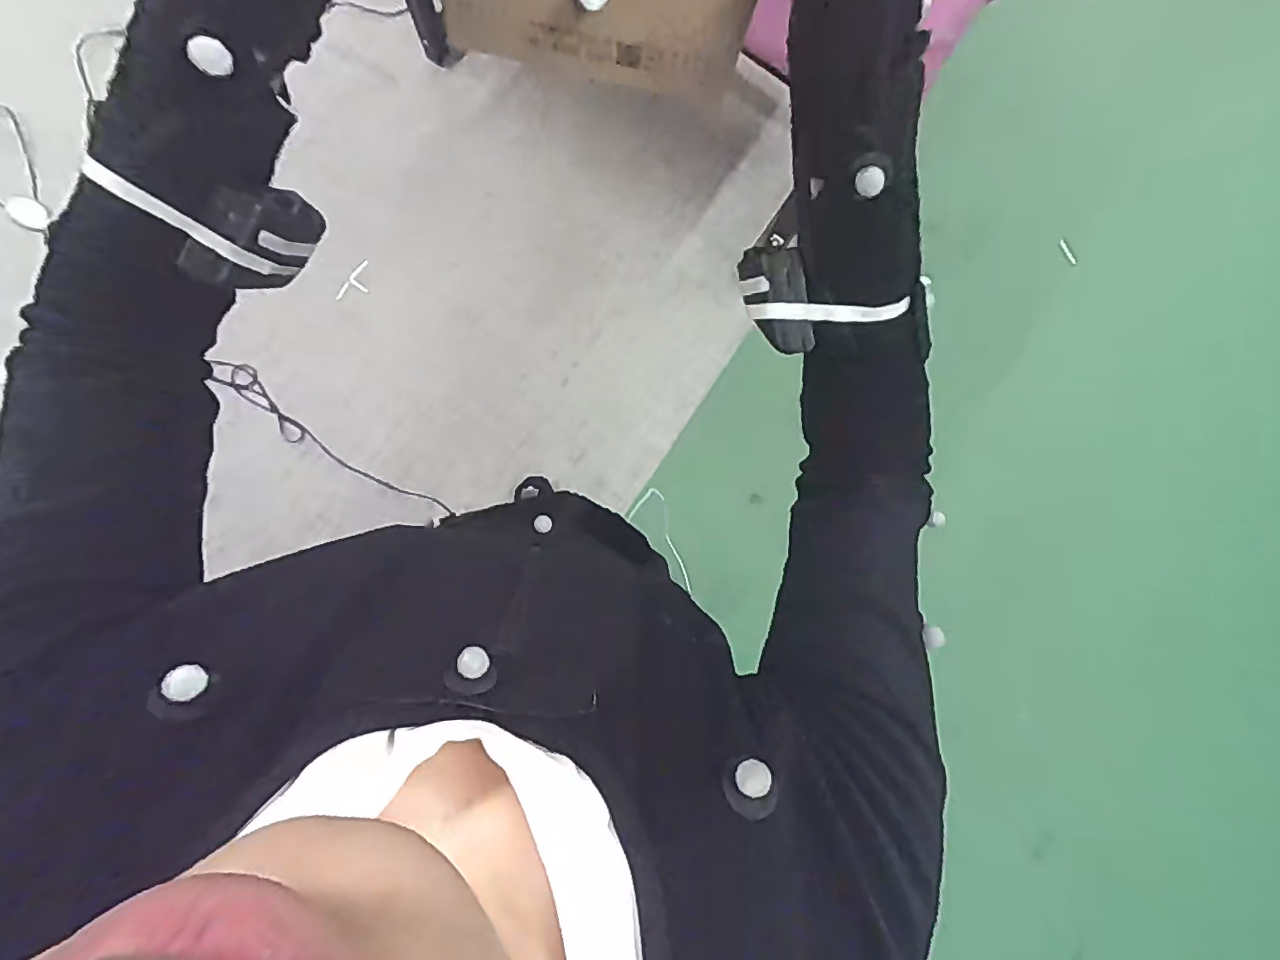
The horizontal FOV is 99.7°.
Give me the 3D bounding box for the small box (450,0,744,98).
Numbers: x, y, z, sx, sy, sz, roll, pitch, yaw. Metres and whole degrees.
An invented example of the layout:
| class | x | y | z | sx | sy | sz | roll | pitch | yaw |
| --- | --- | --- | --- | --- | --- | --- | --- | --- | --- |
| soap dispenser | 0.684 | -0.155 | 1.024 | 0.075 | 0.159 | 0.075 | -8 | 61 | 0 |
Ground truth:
| class | x | y | z | sx | sy | sz | roll | pitch | yaw |
| --- | --- | --- | --- | --- | --- | --- | --- | --- | --- |
| small box | -0.013 | -0.344 | 0.265 | 0.168 | 0.176 | 0.179 | 7 | 79 | -7 |
